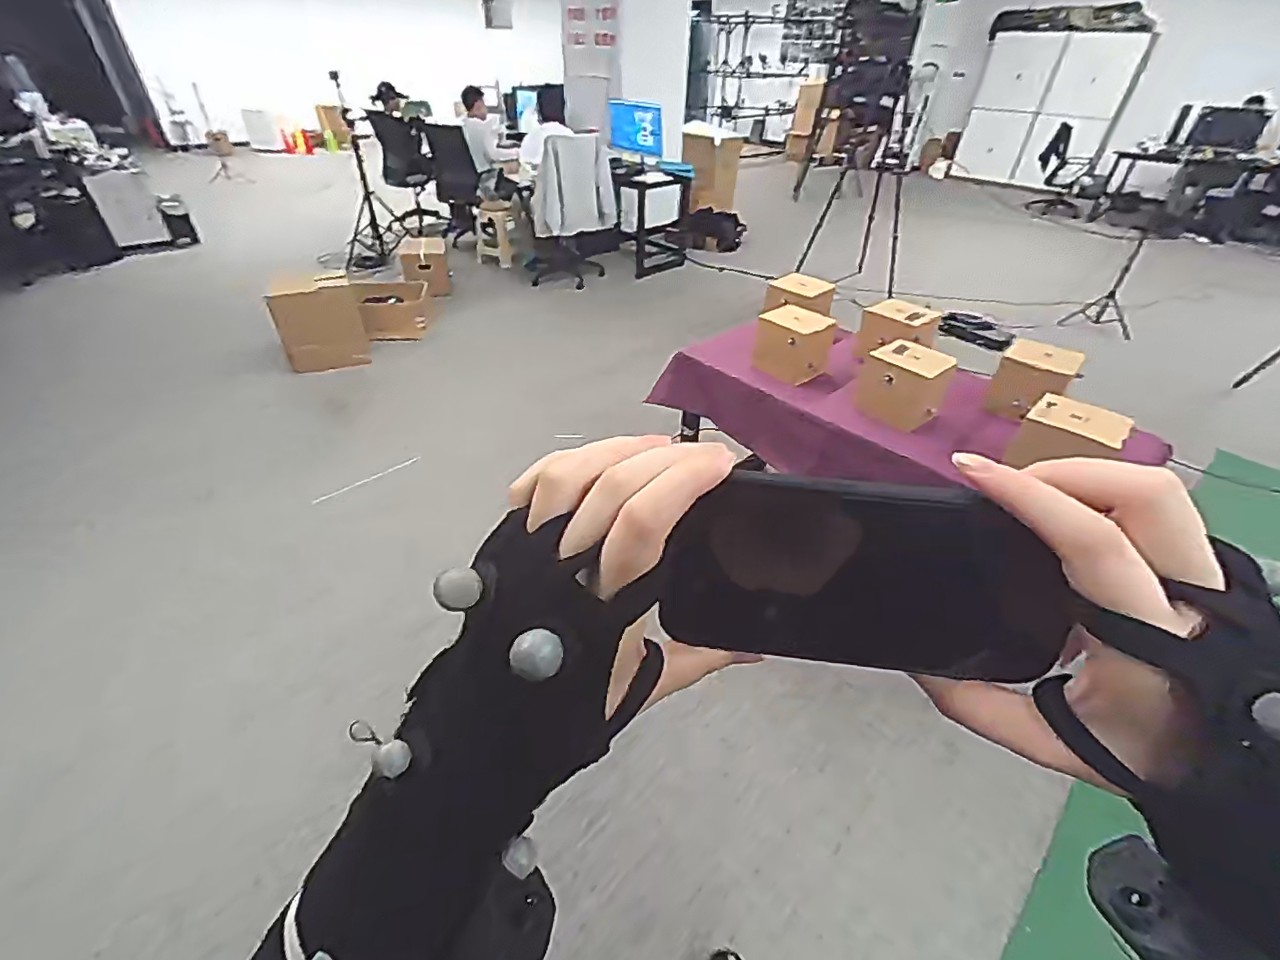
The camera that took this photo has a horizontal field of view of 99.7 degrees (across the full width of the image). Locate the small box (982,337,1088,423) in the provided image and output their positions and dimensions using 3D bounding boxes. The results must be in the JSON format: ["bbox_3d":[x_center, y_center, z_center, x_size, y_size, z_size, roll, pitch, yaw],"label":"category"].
[{"bbox_3d":[1.088,-0.271,1.500,0.168,0.176,0.179,32,48,33],"label":"small box"}]

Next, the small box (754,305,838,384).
[{"bbox_3d":[0.474,-0.418,1.669,0.168,0.176,0.179,-28,48,-32],"label":"small box"}]

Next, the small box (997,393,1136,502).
[{"bbox_3d":[0.973,-0.071,1.243,0.168,0.176,0.179,-29,48,-34],"label":"small box"}]

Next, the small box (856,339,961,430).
[{"bbox_3d":[0.724,-0.261,1.477,0.168,0.176,0.179,-26,47,-31],"label":"small box"}]
